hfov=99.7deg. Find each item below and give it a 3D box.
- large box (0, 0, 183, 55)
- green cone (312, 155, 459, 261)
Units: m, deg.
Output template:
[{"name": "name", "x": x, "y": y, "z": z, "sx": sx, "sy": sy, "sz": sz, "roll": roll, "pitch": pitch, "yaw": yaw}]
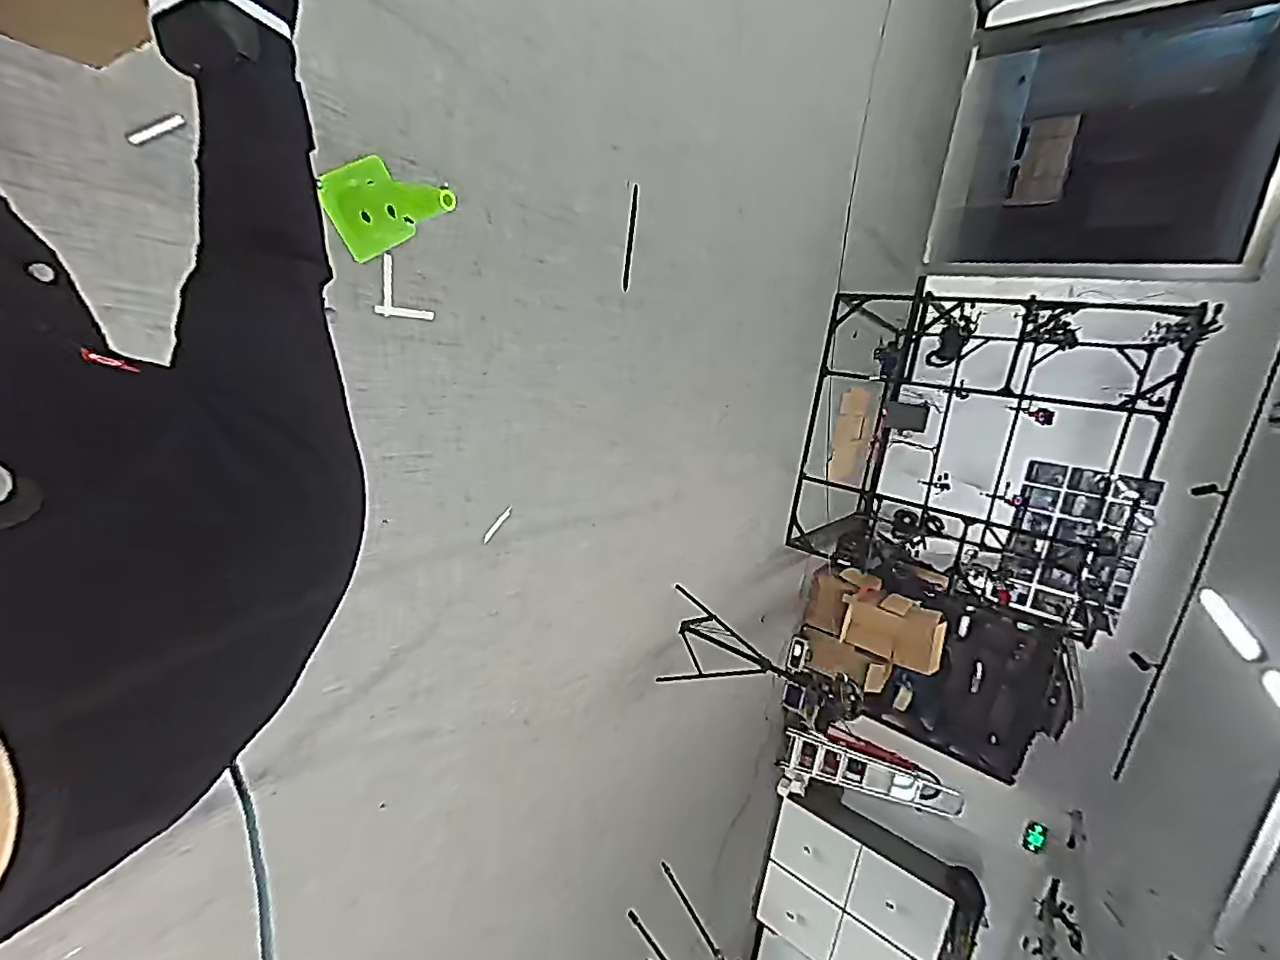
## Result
[{"name": "large box", "x": -0.529, "y": -0.508, "z": 0.274, "sx": 0.408, "sy": 0.320, "sz": 0.320, "roll": -10, "pitch": 115, "yaw": -54}, {"name": "green cone", "x": -0.556, "y": -0.648, "z": 1.273, "sx": 0.202, "sy": 0.368, "sz": 0.200, "roll": -51, "pitch": 140, "yaw": -31}]
